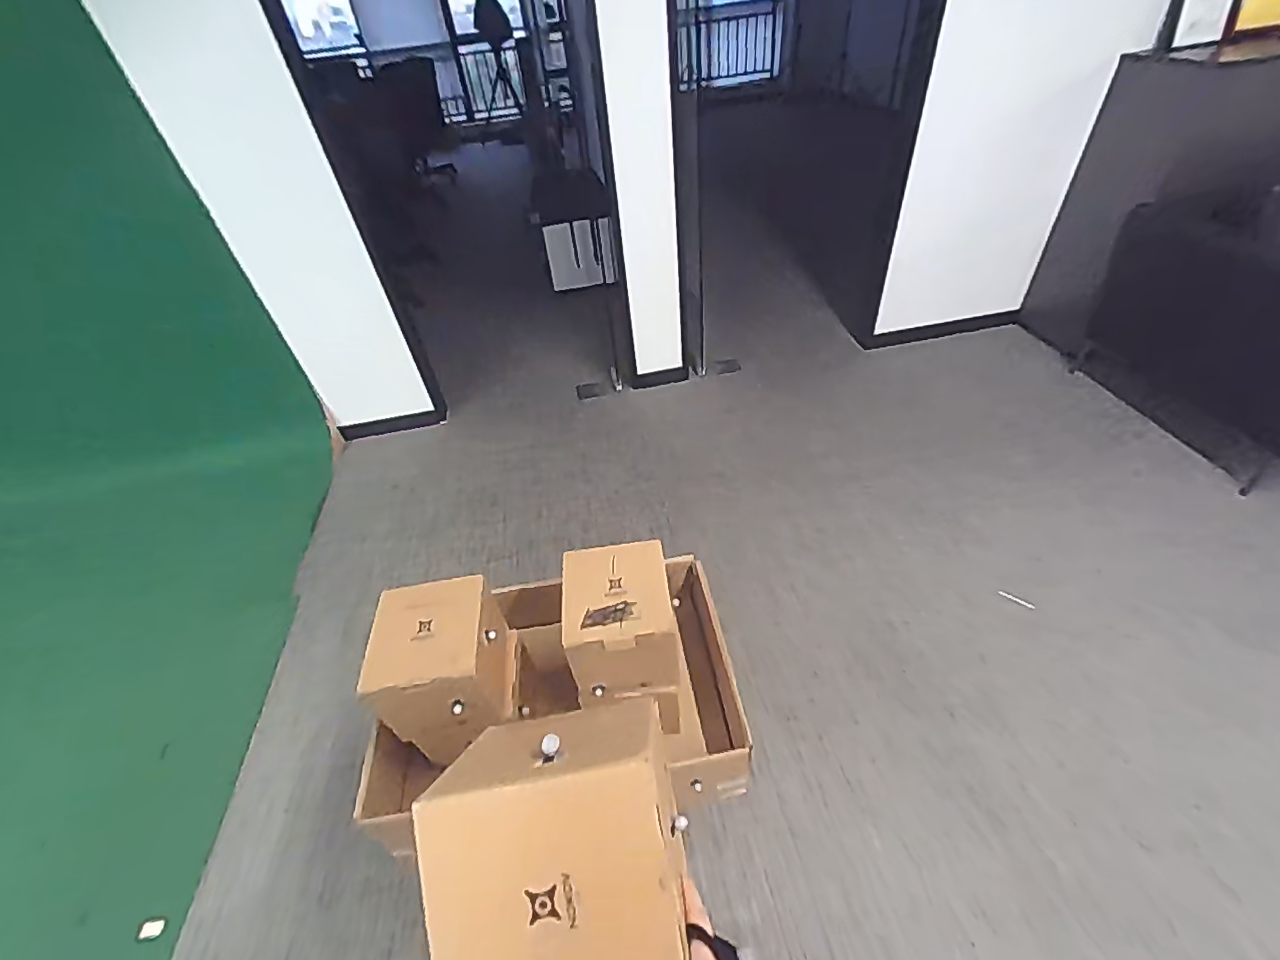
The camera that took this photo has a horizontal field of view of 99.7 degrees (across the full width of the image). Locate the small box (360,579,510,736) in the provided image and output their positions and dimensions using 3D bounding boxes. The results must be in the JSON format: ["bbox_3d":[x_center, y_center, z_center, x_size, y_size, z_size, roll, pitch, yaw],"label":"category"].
[{"bbox_3d":[-0.311,0.288,0.863,0.168,0.176,0.179,-9,42,-2],"label":"small box"}]

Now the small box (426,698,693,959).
[{"bbox_3d":[-0.056,0.300,0.459,0.179,0.176,0.168,-10,81,0],"label":"small box"}]

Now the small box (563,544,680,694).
[{"bbox_3d":[-0.028,0.233,0.884,0.168,0.176,0.179,-7,42,0],"label":"small box"}]
